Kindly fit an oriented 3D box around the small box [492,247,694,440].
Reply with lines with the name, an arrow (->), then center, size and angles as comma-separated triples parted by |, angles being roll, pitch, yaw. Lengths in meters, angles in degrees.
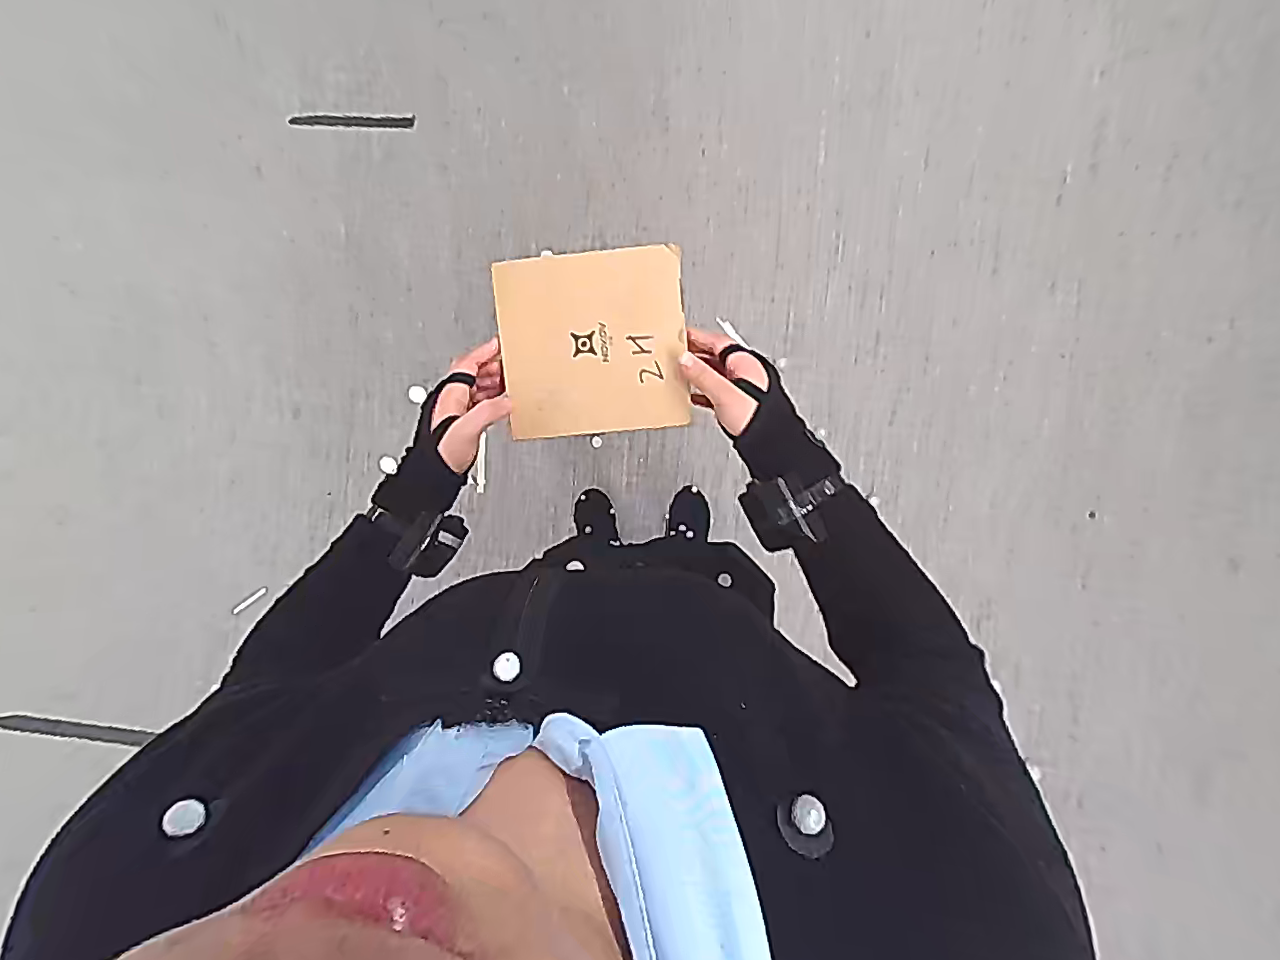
small box -> -0.040, -0.133, 0.571 | 0.179, 0.176, 0.168 | -4, 99, 0
